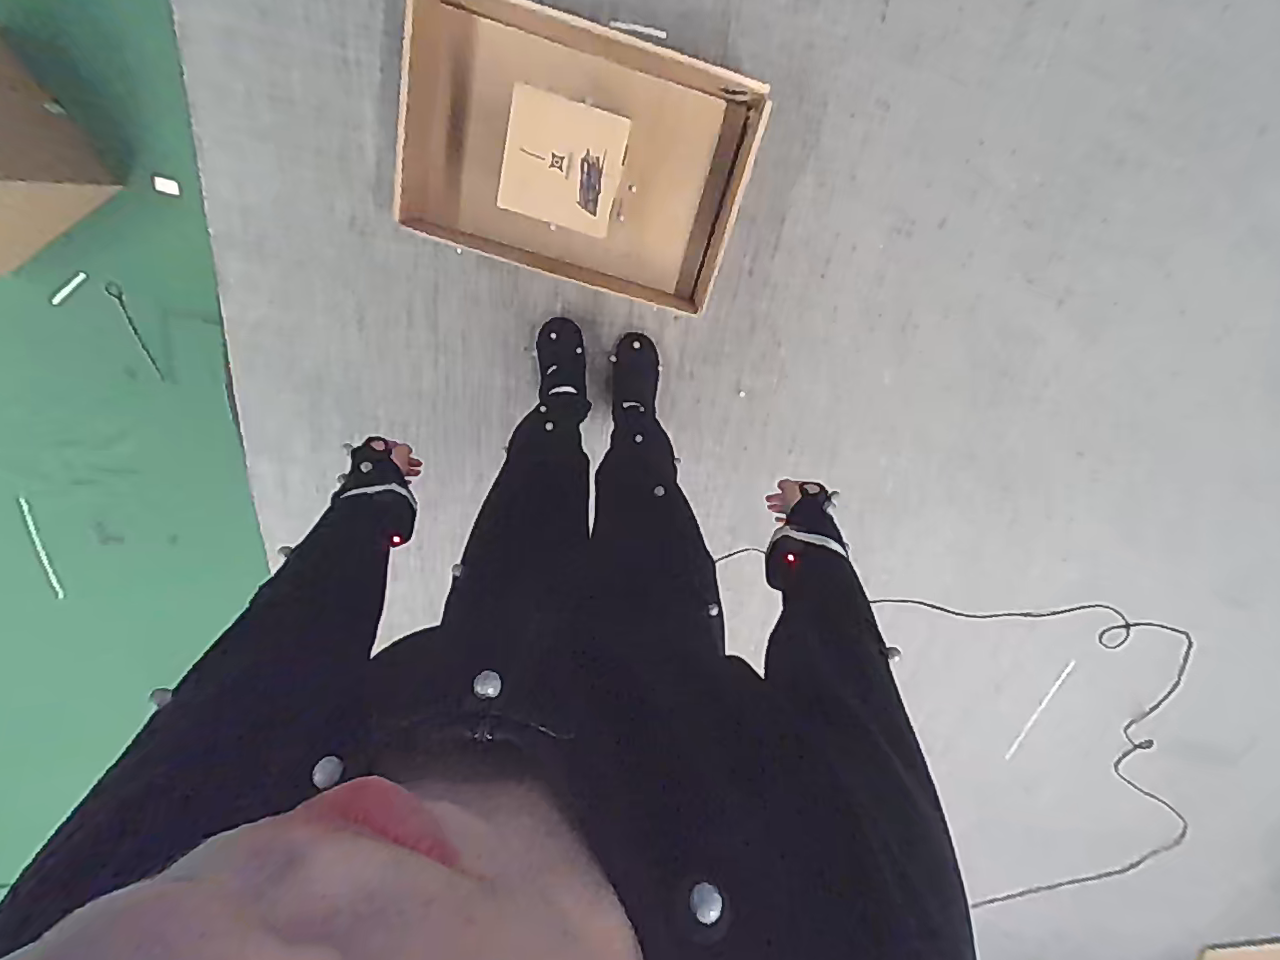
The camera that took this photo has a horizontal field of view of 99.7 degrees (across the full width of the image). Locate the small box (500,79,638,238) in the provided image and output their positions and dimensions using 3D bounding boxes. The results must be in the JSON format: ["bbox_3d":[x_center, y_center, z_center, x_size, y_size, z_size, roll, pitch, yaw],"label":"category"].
[{"bbox_3d":[-0.106,-0.506,0.868,0.179,0.176,0.168,16,117,-5],"label":"small box"}]

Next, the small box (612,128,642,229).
[{"bbox_3d":[-0.100,-0.584,1.013,0.179,0.176,0.168,14,118,-6],"label":"small box"}]
